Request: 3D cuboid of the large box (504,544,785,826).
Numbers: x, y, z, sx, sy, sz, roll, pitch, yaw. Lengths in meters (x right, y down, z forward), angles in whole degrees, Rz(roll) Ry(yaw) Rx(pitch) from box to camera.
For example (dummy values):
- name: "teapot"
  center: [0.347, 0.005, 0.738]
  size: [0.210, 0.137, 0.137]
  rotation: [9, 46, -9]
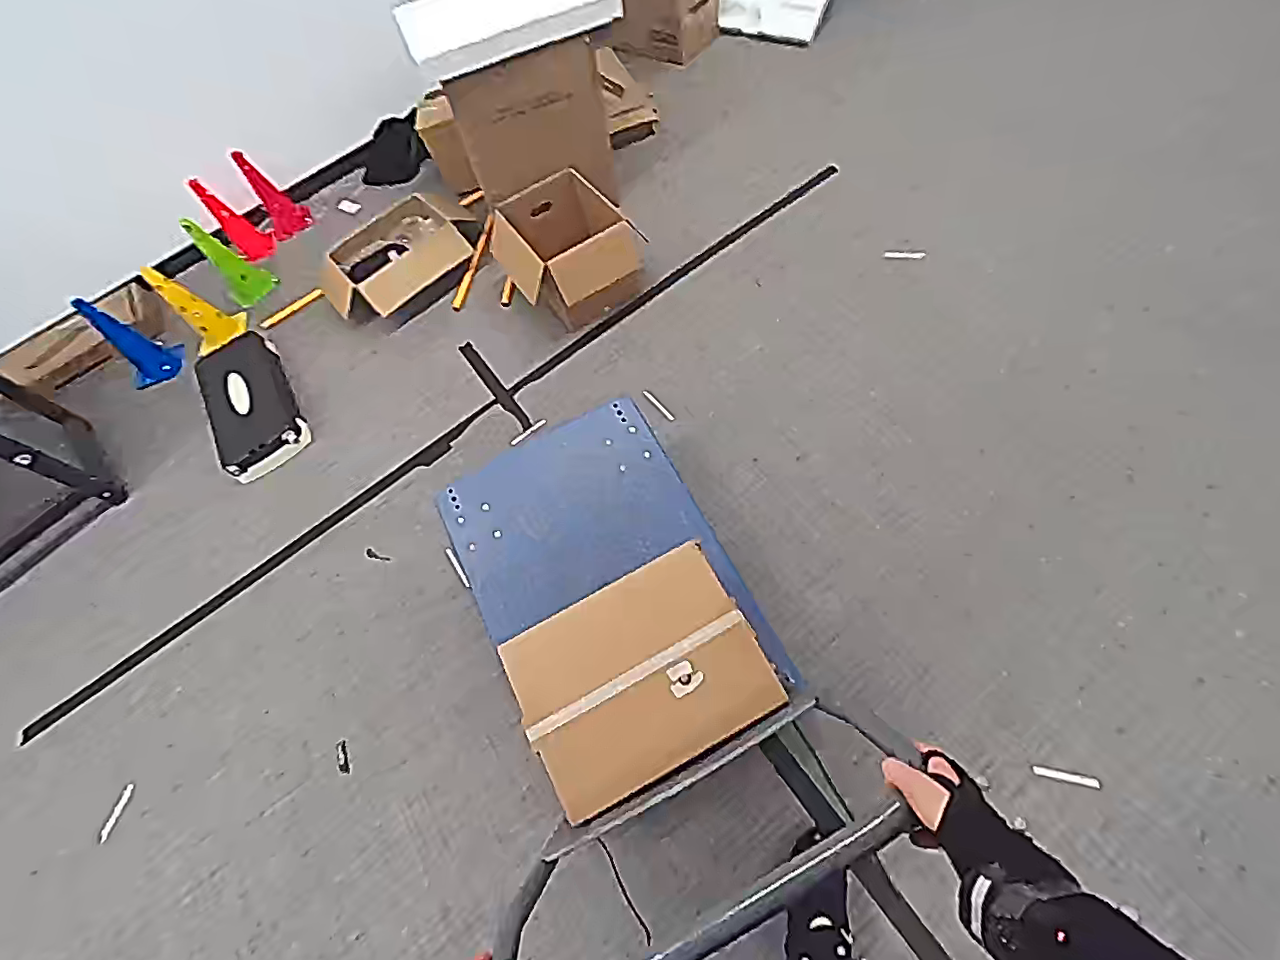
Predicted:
- name: "large box"
  center: [0.012, 0.387, 1.064]
  size: [0.408, 0.320, 0.320]
  rotation: [-28, 70, -6]
